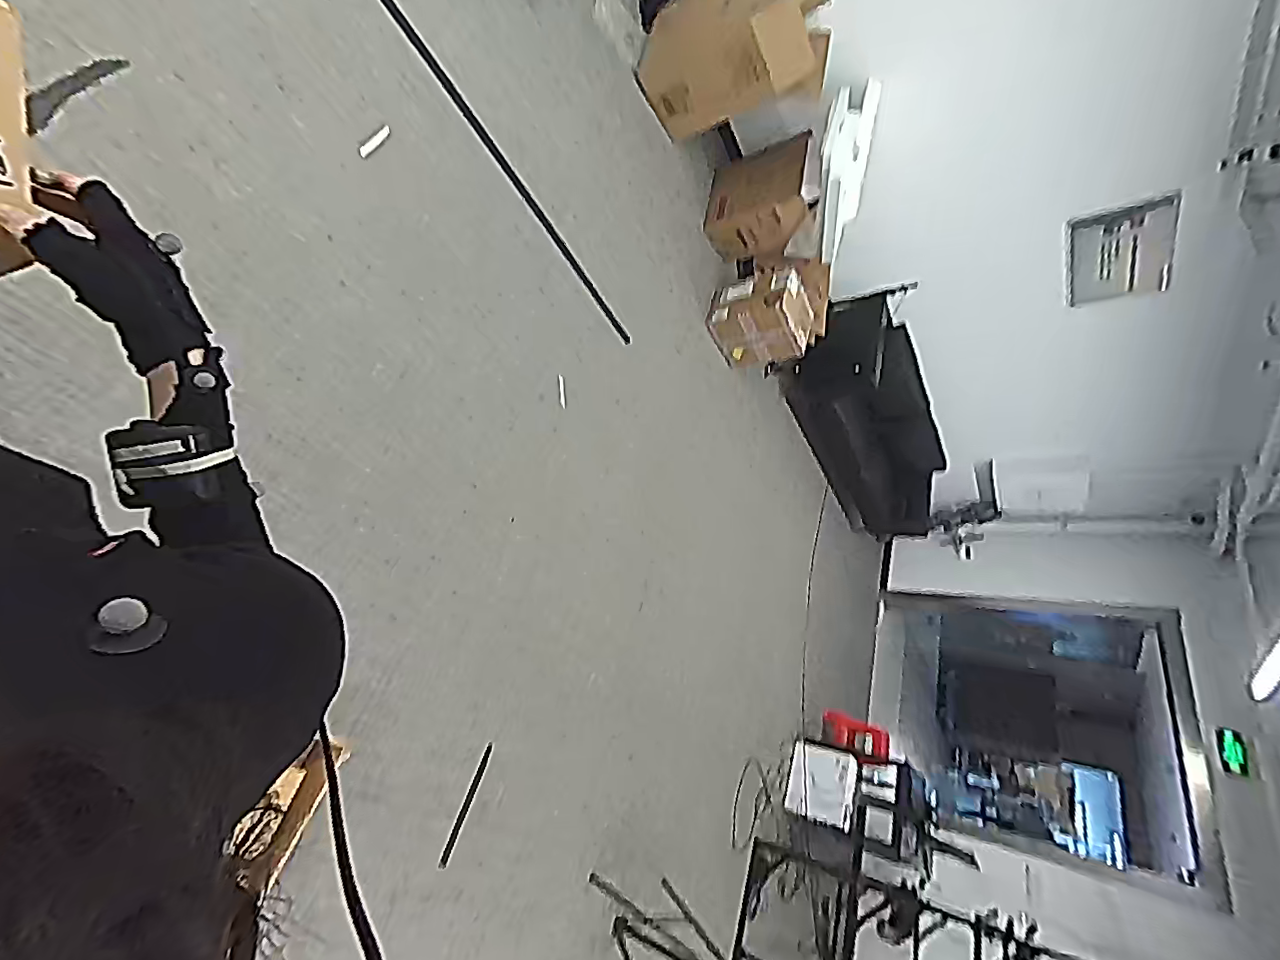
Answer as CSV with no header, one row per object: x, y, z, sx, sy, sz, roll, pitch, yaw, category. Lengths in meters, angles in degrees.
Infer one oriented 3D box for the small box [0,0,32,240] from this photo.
-0.517,-0.244,0.324,0.179,0.176,0.168,-8,102,-57,small box
